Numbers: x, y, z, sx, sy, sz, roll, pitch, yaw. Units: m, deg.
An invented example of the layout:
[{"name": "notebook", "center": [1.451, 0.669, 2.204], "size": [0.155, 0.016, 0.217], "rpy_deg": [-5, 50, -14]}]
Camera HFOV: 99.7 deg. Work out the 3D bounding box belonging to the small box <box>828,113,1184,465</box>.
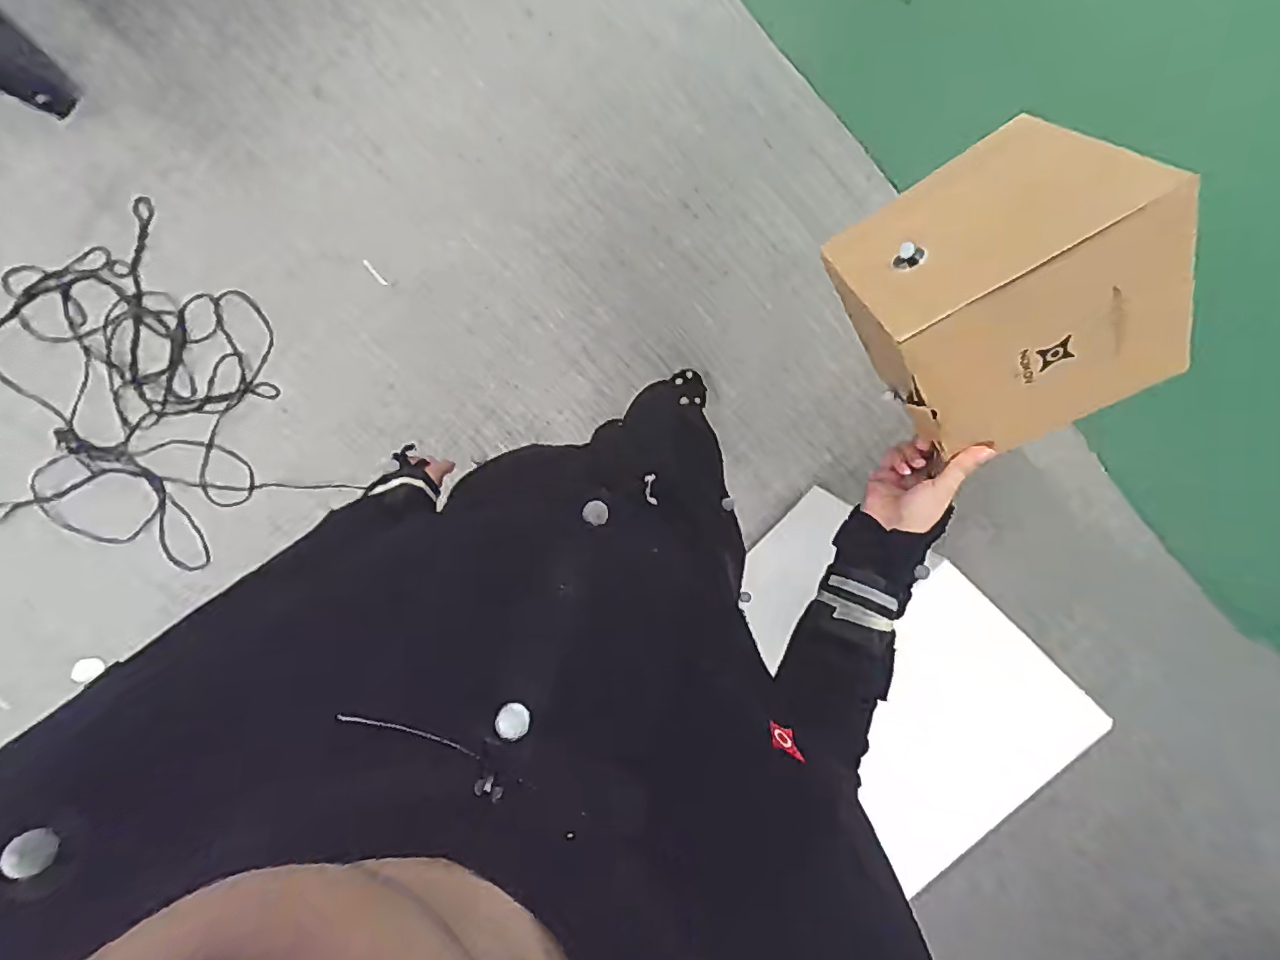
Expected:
[{"name": "small box", "center": [0.275, -0.151, 0.440], "size": [0.179, 0.176, 0.168], "rpy_deg": [-32, 131, 20]}]
